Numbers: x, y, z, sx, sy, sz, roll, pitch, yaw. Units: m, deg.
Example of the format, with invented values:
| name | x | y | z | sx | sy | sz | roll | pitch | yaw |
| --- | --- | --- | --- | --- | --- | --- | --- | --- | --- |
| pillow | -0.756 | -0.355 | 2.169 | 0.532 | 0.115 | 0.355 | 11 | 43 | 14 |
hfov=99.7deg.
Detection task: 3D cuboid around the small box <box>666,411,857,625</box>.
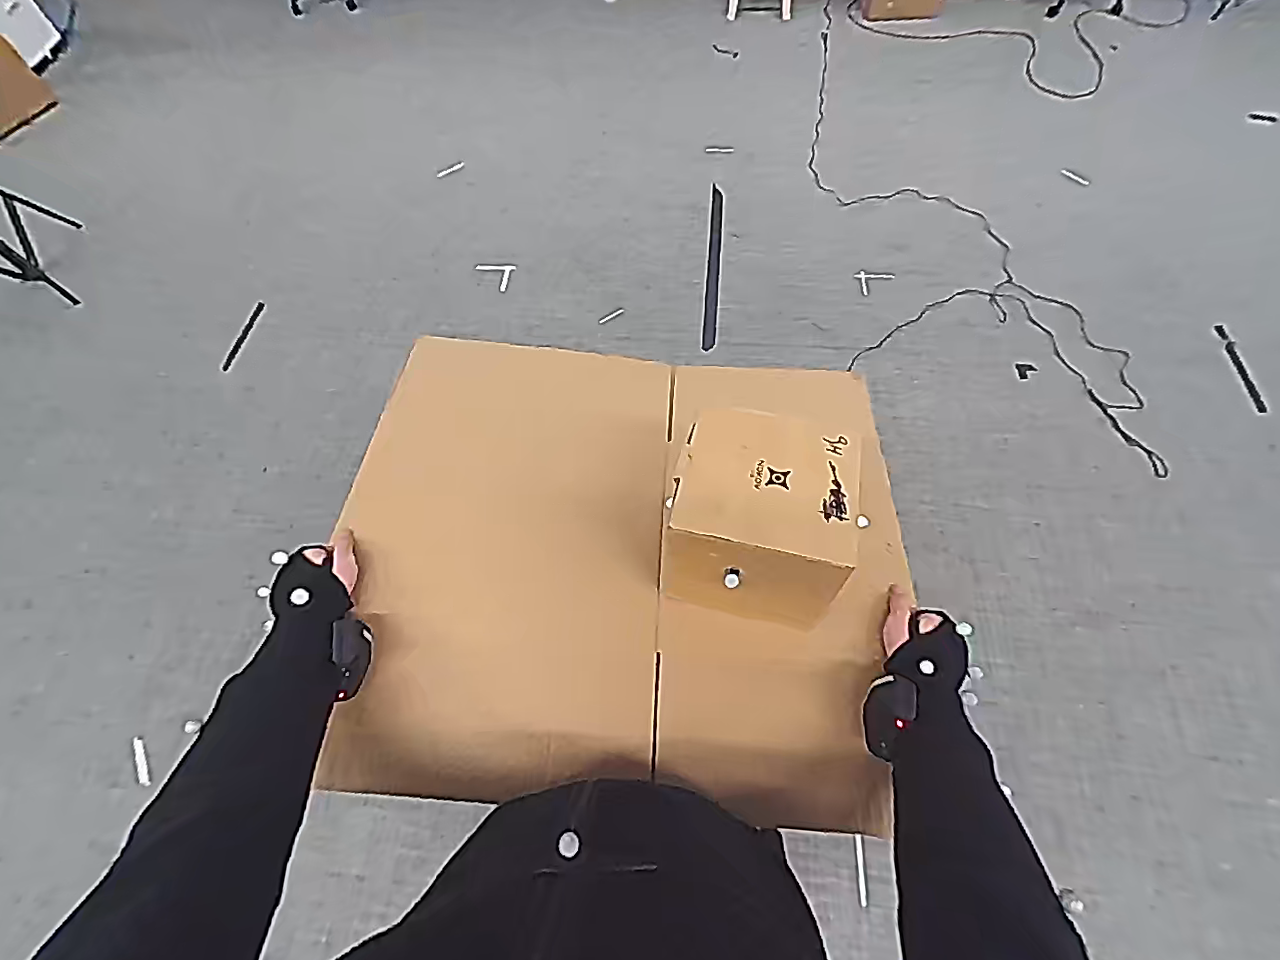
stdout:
| name | x | y | z | sx | sy | sz | roll | pitch | yaw |
| --- | --- | --- | --- | --- | --- | --- | --- | --- | --- |
| small box | 0.132 | 0.048 | 0.614 | 0.179 | 0.176 | 0.168 | 10 | 57 | 10 |
